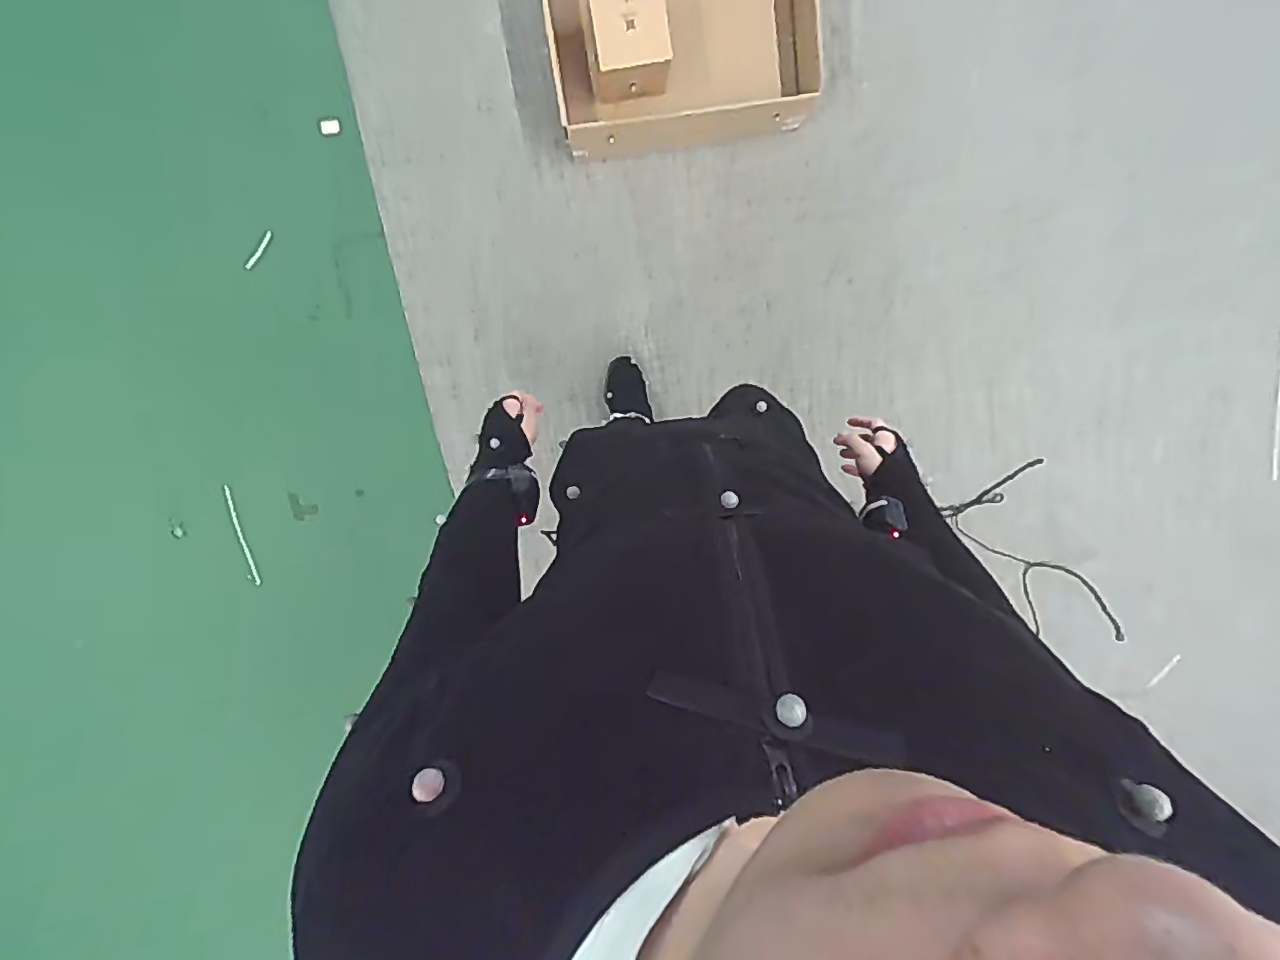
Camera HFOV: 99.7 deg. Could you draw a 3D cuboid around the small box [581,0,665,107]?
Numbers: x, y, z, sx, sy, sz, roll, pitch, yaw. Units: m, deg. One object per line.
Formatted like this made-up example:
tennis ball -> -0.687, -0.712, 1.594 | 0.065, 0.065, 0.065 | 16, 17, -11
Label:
small box -> -0.039, -1.003, 1.261 | 0.168, 0.176, 0.179 | -10, 102, -2
